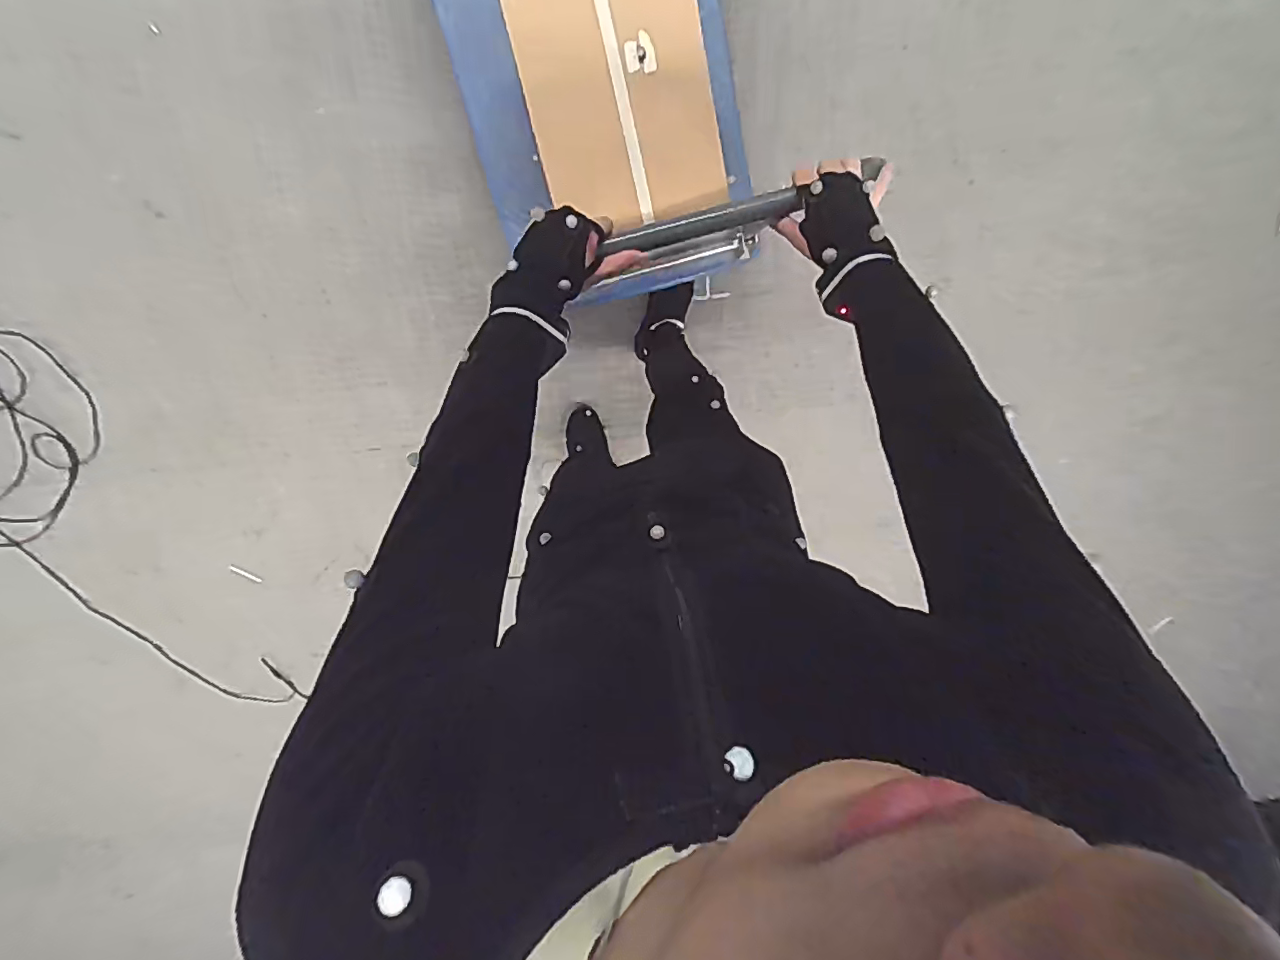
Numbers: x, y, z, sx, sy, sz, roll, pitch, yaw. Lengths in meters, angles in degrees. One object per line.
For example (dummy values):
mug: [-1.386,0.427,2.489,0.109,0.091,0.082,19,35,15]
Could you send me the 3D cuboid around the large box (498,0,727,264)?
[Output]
large box: [-0.046,-0.687,1.075,0.320,0.320,0.408,-15,107,-1]
